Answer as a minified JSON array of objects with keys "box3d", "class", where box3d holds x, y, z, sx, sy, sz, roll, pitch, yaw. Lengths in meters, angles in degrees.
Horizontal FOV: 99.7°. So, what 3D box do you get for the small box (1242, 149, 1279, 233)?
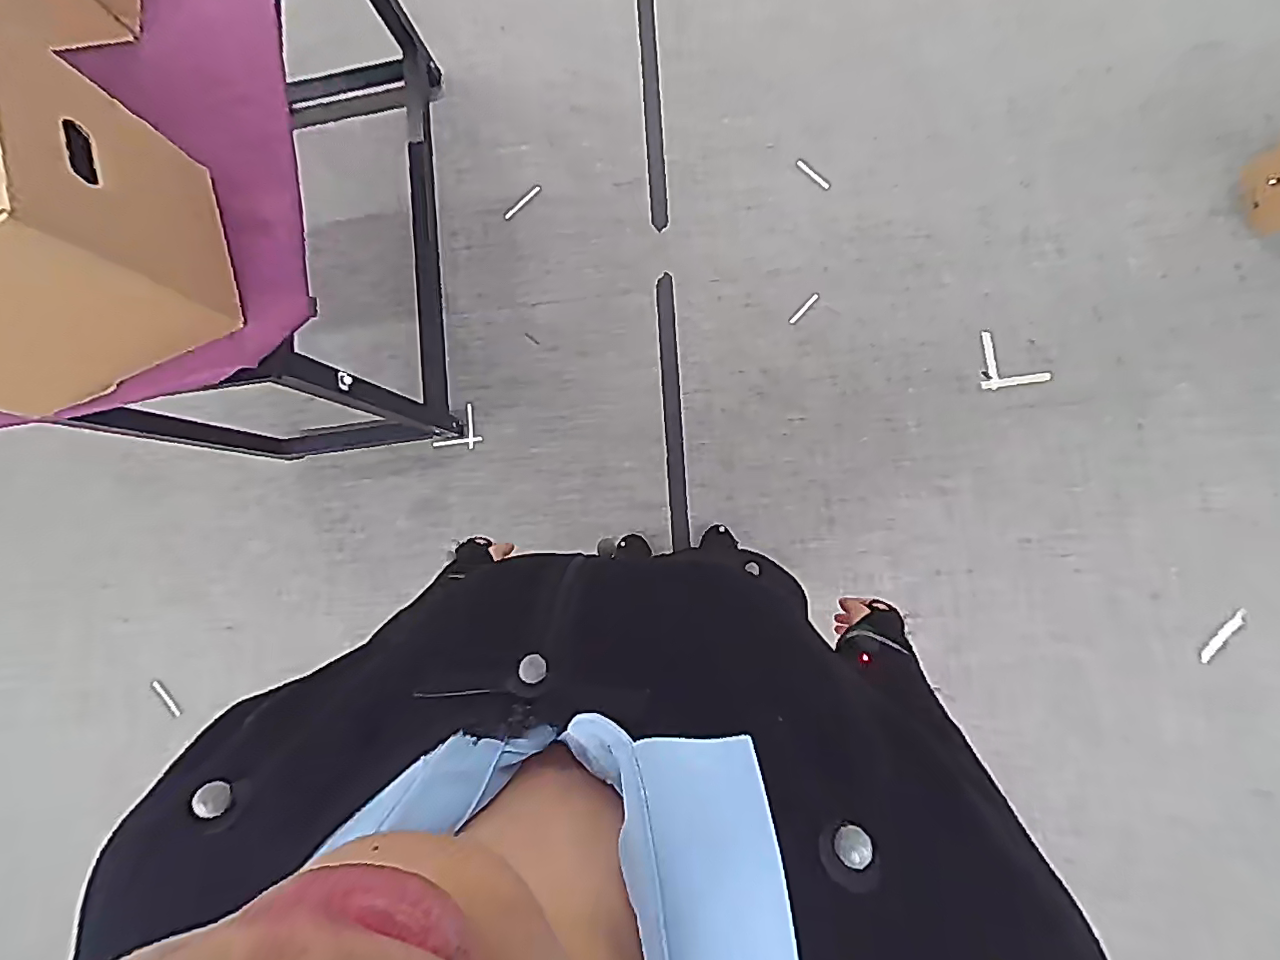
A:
[{"box3d":[1.645,-0.731,1.323,0.179,0.176,0.168,-7,85,6],"class":"small box"}]
